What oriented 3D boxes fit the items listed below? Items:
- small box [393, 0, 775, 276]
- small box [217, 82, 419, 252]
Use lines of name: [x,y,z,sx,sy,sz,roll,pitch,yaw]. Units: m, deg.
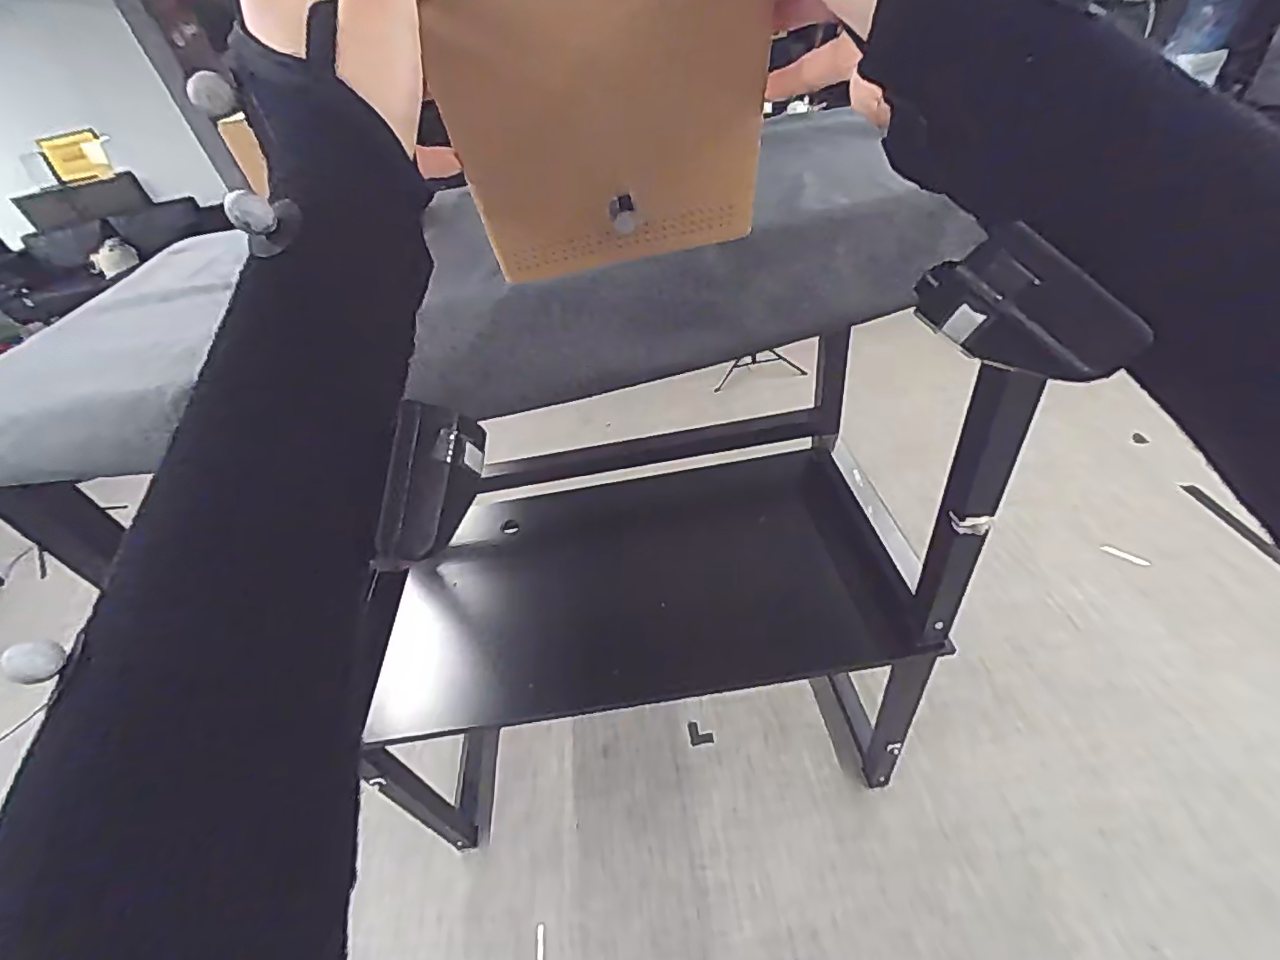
small box: [-0.032,-0.258,0.336,0.179,0.176,0.168,-12,63,-1]
small box: [-0.437,-0.442,0.772,0.168,0.176,0.179,-13,41,-1]
